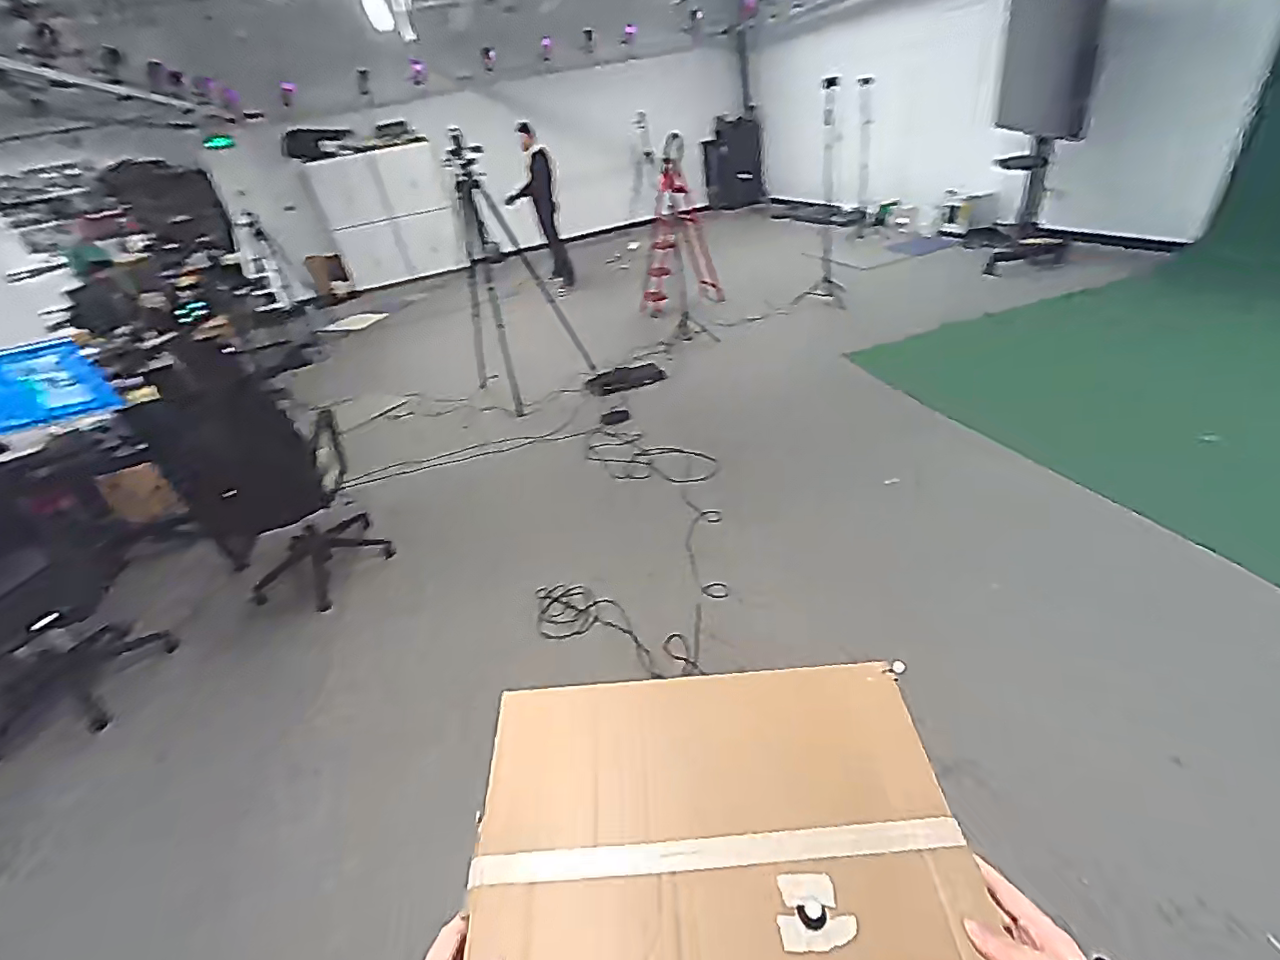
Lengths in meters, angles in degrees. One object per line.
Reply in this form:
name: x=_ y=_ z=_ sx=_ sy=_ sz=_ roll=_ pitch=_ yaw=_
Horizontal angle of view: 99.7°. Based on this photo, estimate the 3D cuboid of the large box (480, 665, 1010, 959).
large box: x=0.079 y=0.422 z=0.559 sx=0.408 sy=0.320 sz=0.320 roll=-3 pitch=42 yaw=1
